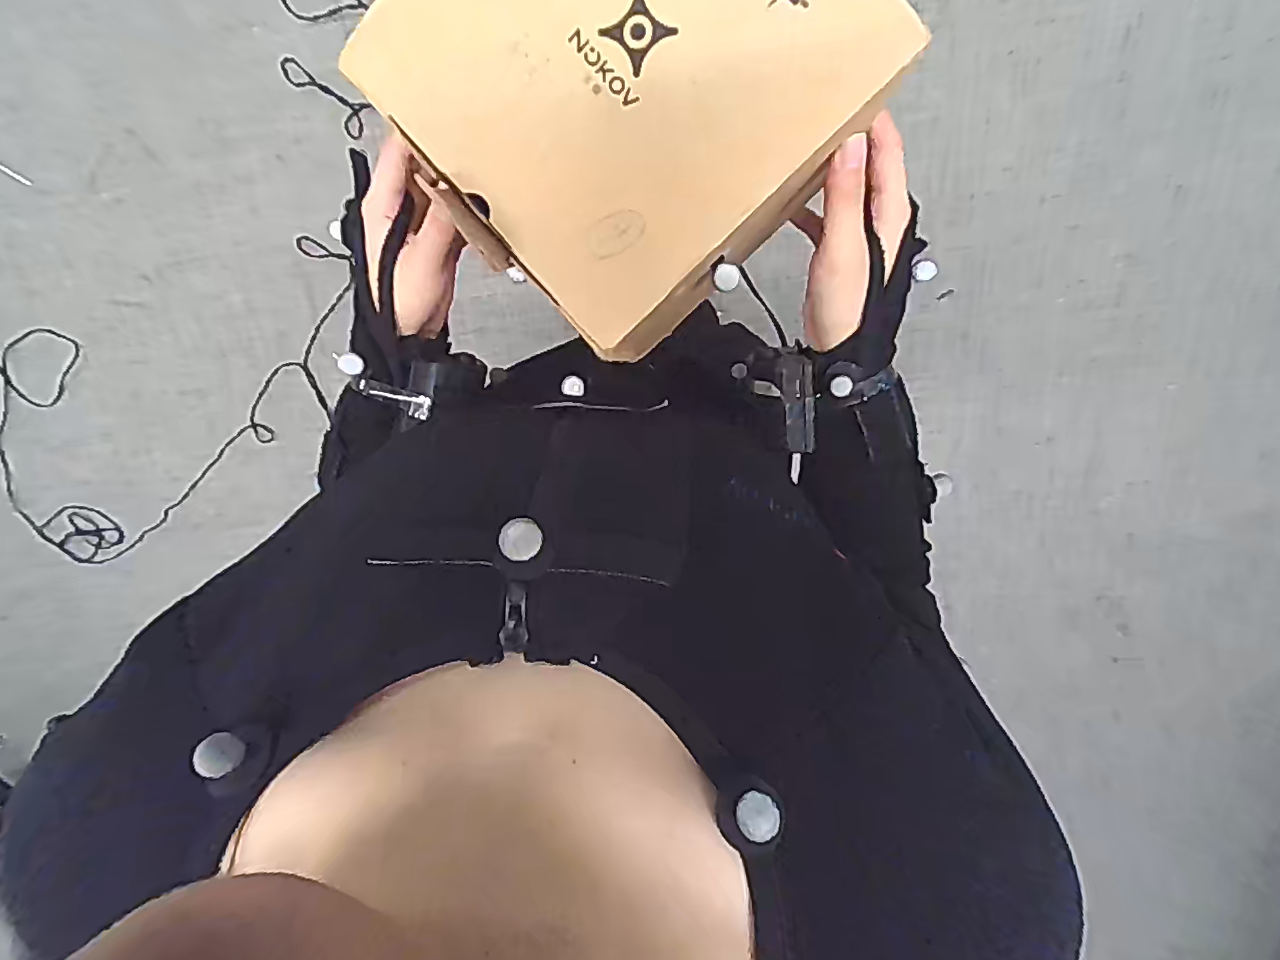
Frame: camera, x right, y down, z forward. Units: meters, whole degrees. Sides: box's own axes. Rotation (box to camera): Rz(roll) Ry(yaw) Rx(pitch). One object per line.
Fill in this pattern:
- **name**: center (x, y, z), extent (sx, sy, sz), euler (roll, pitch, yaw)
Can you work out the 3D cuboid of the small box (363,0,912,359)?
- **small box**: center (0.002, -0.185, 0.302), extent (0.179, 0.176, 0.168), euler (-42, 96, 12)
